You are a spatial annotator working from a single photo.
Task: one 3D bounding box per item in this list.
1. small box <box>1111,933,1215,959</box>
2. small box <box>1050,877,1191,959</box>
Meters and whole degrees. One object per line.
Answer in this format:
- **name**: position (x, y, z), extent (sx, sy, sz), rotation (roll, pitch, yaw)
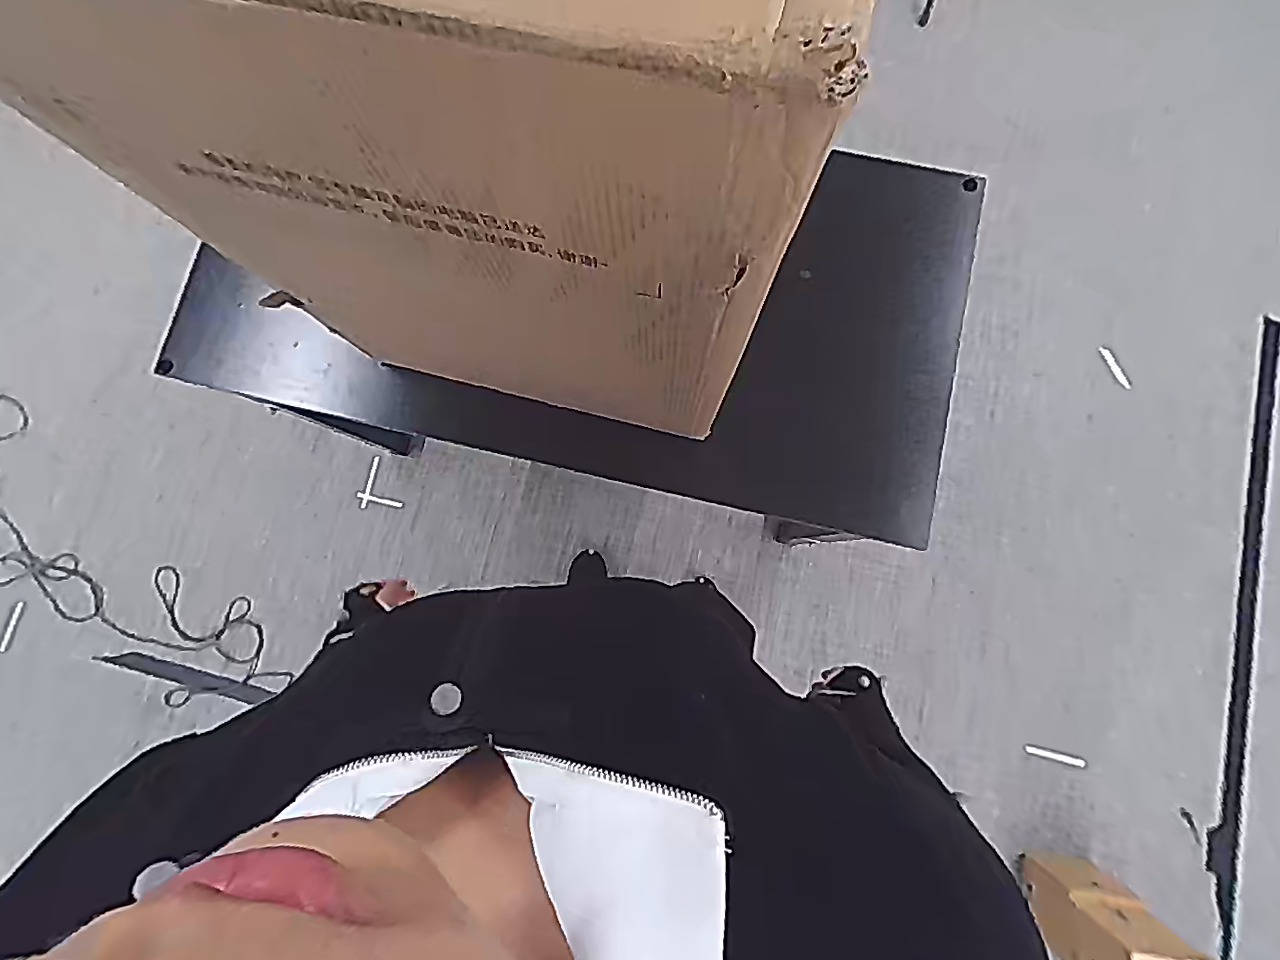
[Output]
- **small box**: position (1.070, 1.035, 1.058), extent (0.179, 0.176, 0.168), rotation (6, 82, 2)
- **small box**: position (1.078, 1.040, 1.223), extent (0.179, 0.176, 0.168), rotation (6, 82, 3)
